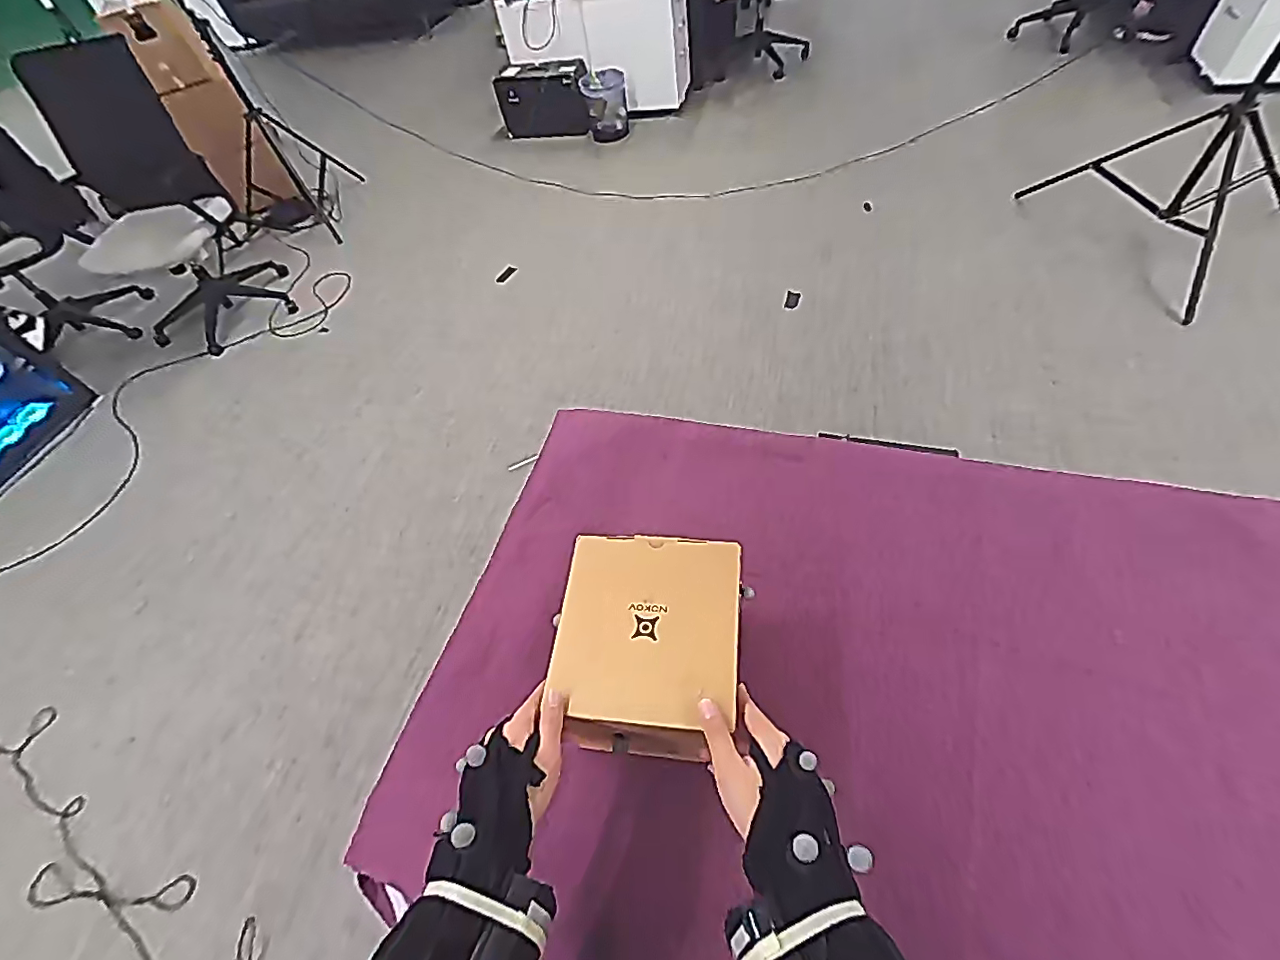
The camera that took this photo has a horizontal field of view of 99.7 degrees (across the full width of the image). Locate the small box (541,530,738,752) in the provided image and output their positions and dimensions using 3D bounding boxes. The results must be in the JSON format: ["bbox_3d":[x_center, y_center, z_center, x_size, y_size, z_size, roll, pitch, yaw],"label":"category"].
[{"bbox_3d":[0.015,0.169,0.558,0.168,0.176,0.179,1,54,10],"label":"small box"}]
